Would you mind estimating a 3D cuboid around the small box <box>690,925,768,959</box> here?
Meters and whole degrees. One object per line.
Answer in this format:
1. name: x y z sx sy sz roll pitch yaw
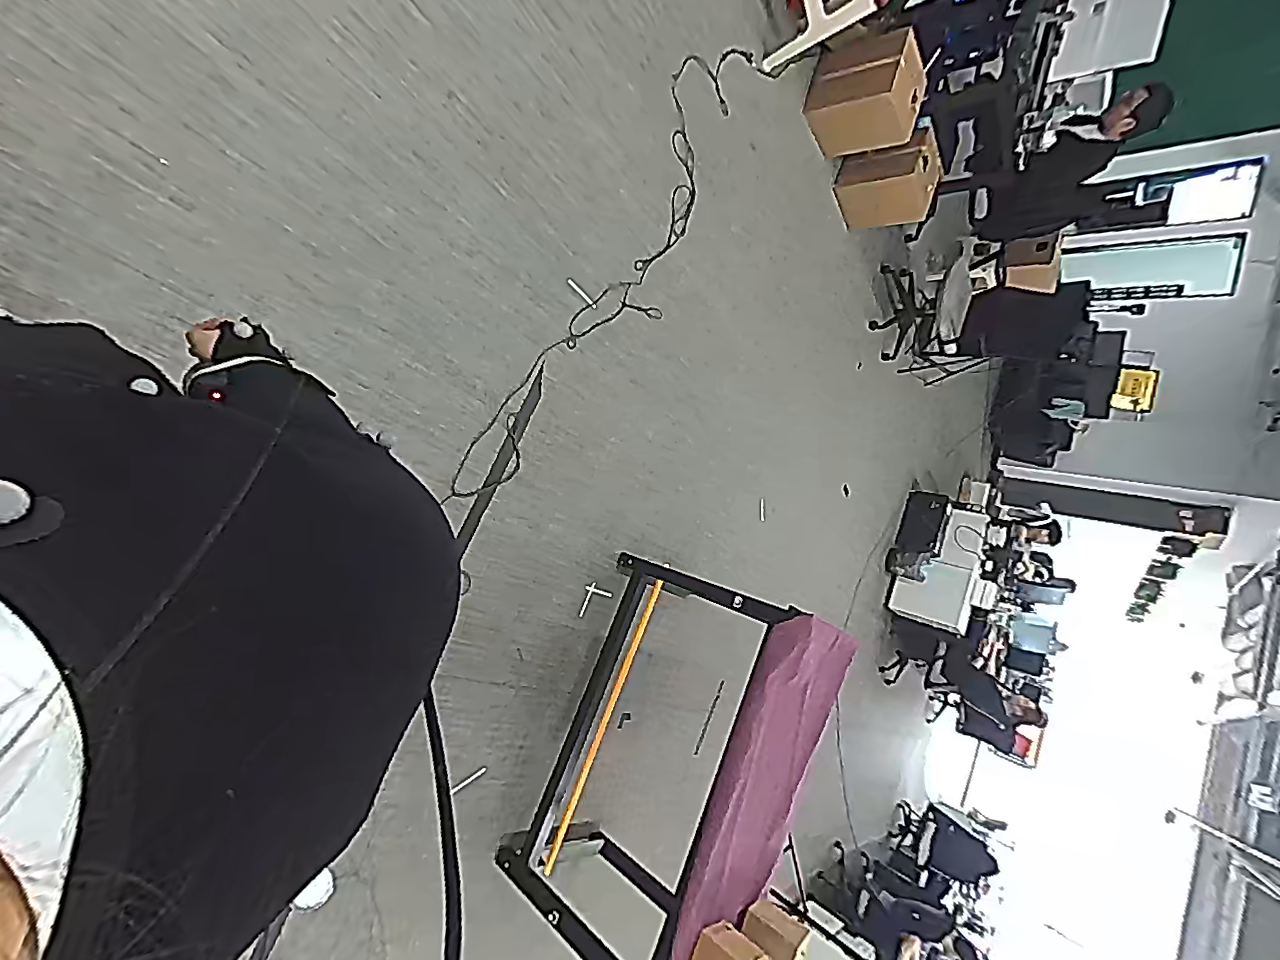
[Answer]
1. small box: 0.232 1.403 1.524 0.168 0.176 0.179 39 71 -48
